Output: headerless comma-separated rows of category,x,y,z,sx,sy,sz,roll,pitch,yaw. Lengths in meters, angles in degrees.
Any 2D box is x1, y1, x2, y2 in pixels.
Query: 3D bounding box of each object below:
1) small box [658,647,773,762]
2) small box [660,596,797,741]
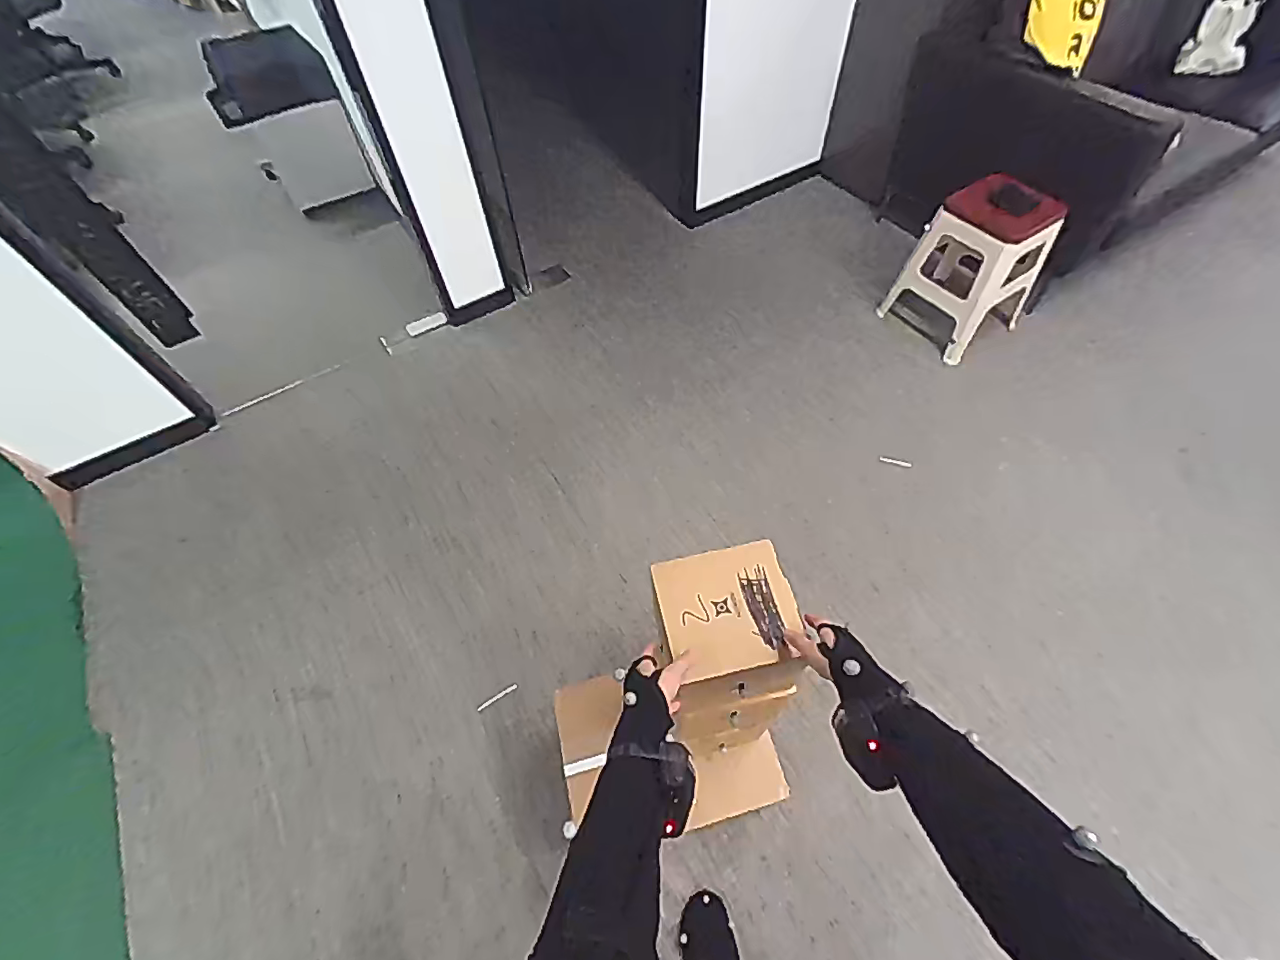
small box,0.131,0.410,1.022,0.168,0.176,0.179,-13,55,-6
small box,0.134,0.314,0.892,0.179,0.176,0.168,-12,54,-5
